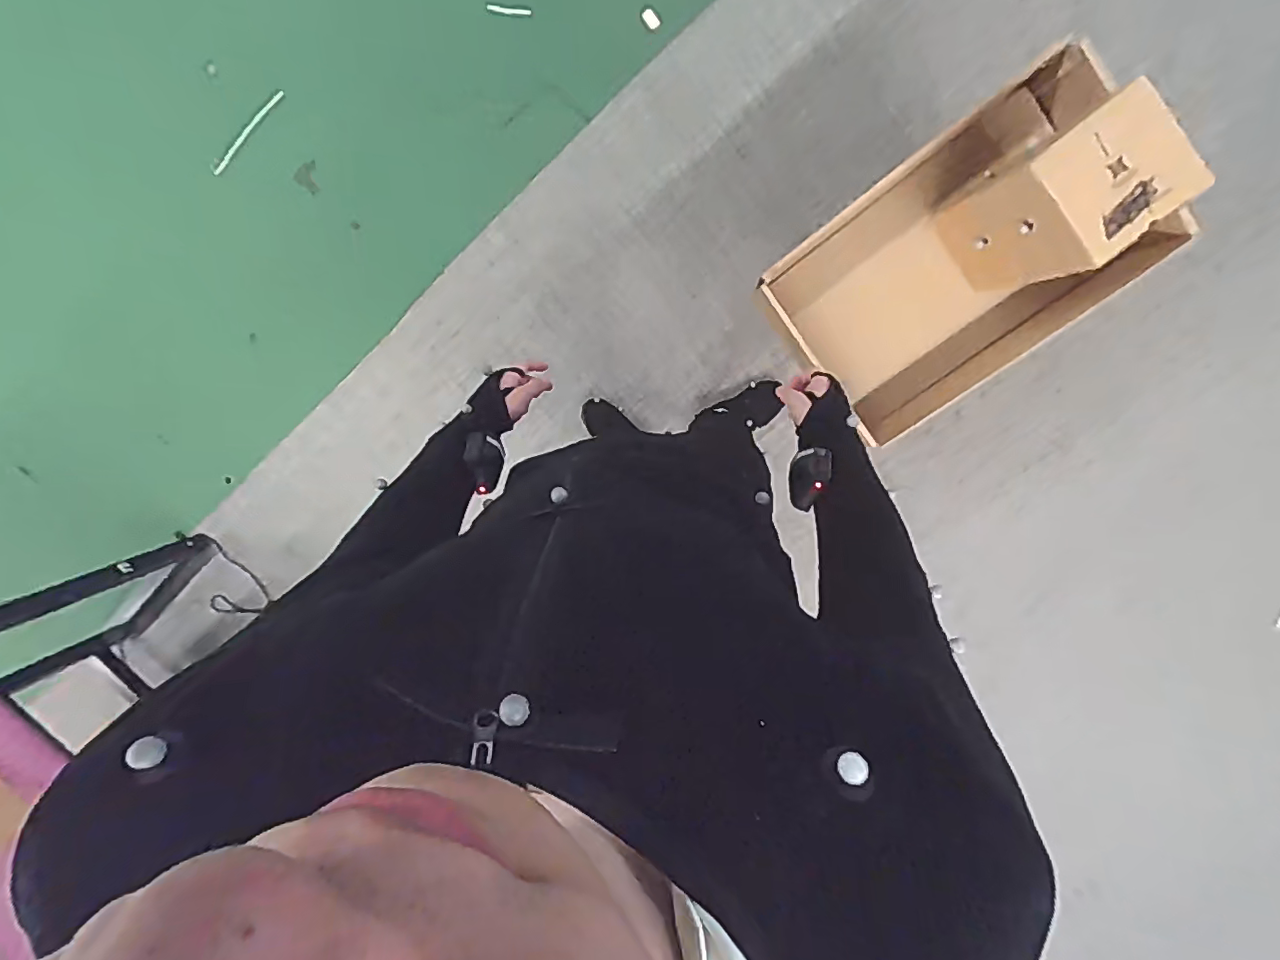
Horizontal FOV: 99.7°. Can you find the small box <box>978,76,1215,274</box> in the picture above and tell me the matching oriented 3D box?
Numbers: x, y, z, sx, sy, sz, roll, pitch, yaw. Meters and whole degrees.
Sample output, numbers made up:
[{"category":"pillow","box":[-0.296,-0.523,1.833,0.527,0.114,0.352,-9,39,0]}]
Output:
[{"category":"small box","box":[0.654,-0.427,0.800,0.168,0.176,0.179,-38,96,13]}]

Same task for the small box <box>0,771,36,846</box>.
[{"category":"small box","box":[-1.449,0.732,1.127,0.168,0.176,0.179,-30,98,12]}]

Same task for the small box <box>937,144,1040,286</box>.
[{"category":"small box","box":[0.673,-0.465,0.959,0.168,0.176,0.179,-37,97,12]}]
